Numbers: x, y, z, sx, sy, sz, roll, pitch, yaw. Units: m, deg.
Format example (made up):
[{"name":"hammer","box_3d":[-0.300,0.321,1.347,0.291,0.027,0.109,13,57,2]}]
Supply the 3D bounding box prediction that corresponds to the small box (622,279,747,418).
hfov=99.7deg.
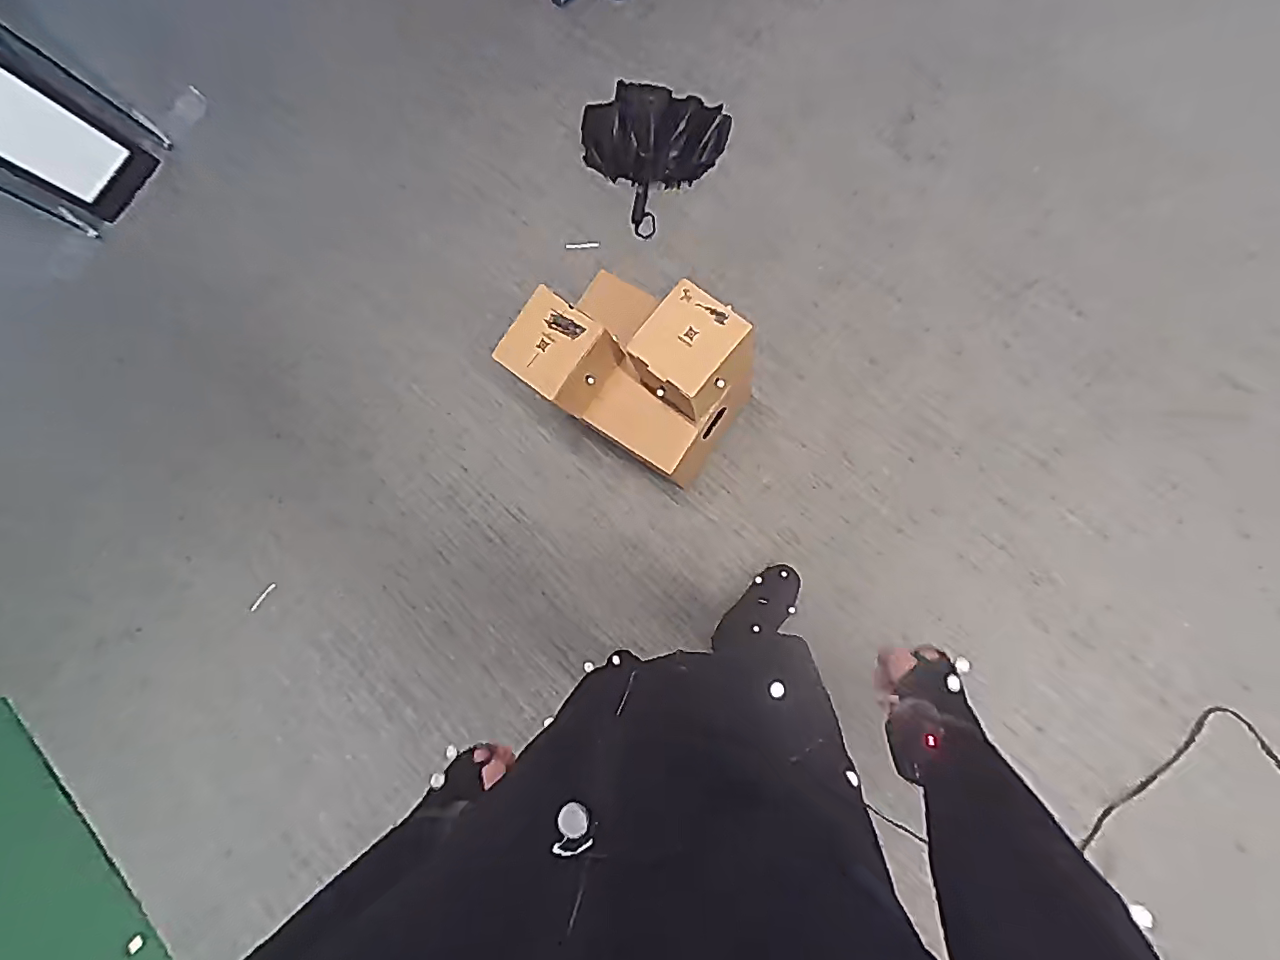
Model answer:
[{"name":"small box","box_3d":[0.094,-0.248,1.064,0.168,0.176,0.179,41,89,13]}]

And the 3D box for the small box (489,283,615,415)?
[{"name":"small box","box_3d":[-0.168,-0.260,1.112,0.168,0.176,0.179,38,93,13]}]
